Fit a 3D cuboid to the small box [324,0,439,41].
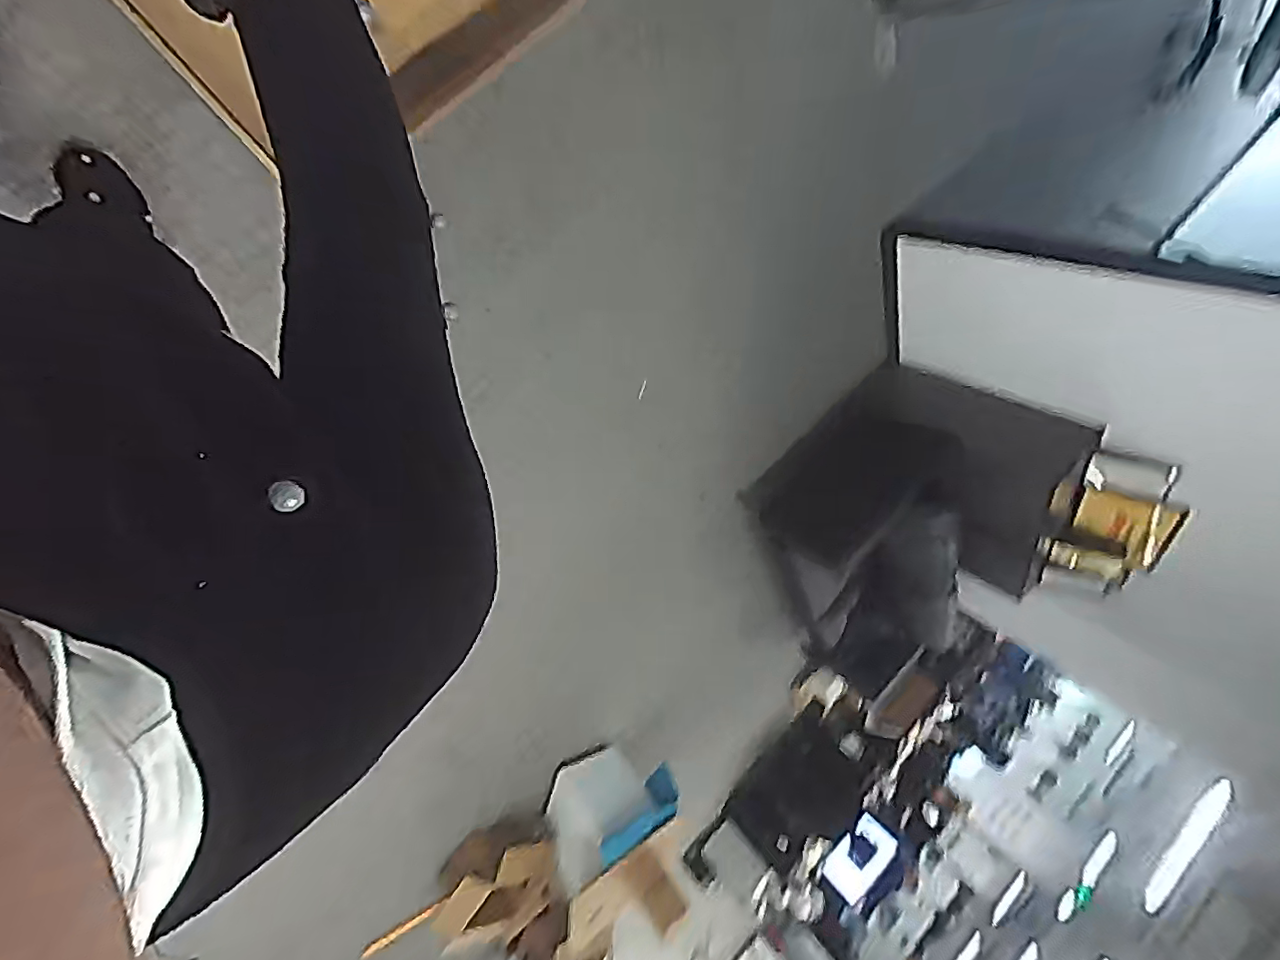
[{"bbox_3d":[-0.321,-0.679,0.659,0.179,0.176,0.168,-45,138,-9],"label":"small box"}]
